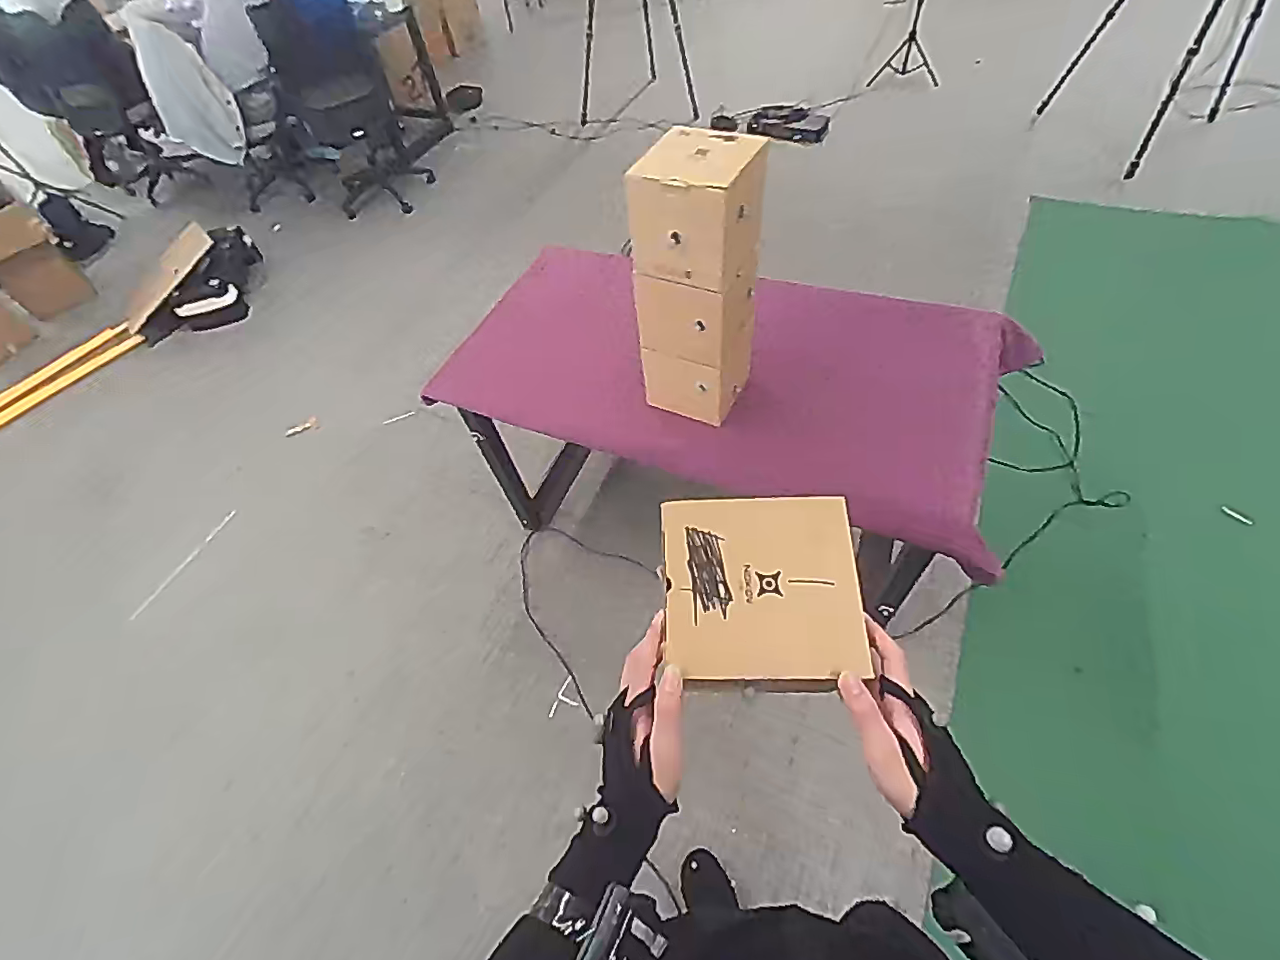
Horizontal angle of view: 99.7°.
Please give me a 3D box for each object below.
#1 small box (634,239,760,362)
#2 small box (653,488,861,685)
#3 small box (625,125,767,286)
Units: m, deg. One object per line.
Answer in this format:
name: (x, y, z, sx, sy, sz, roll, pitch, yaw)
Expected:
small box: (0.109, -0.348, 1.017, 0.179, 0.176, 0.168, 21, 60, 21)
small box: (0.107, 0.118, 0.560, 0.179, 0.176, 0.168, -2, 65, 5)
small box: (0.096, -0.447, 0.888, 0.168, 0.176, 0.179, 21, 60, 20)
